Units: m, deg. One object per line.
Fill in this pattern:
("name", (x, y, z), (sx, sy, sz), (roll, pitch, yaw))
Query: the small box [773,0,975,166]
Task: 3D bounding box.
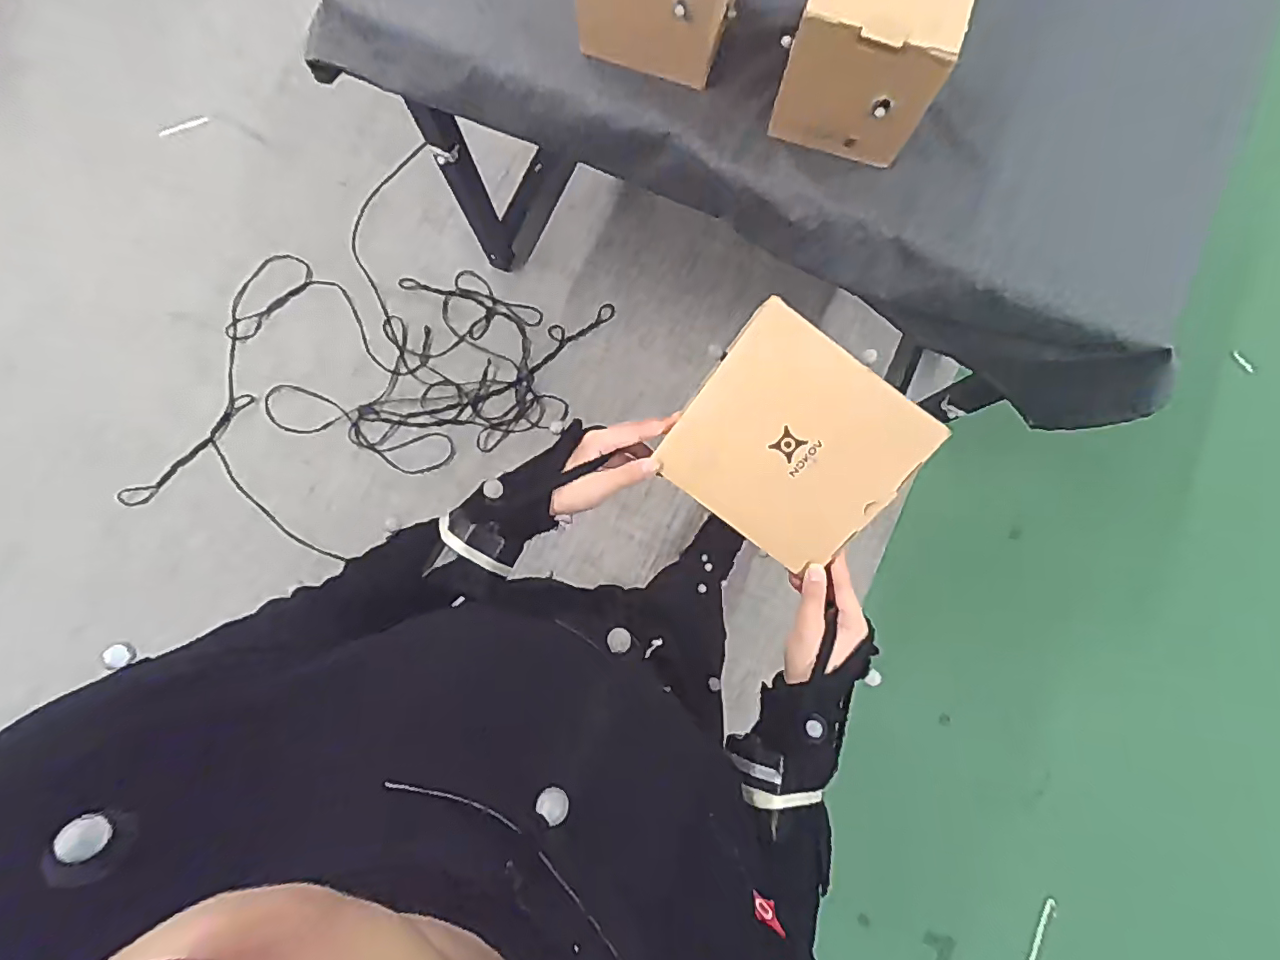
("small box", (0.270, -0.519, 0.641), (0.168, 0.176, 0.179), (17, 82, 0))
